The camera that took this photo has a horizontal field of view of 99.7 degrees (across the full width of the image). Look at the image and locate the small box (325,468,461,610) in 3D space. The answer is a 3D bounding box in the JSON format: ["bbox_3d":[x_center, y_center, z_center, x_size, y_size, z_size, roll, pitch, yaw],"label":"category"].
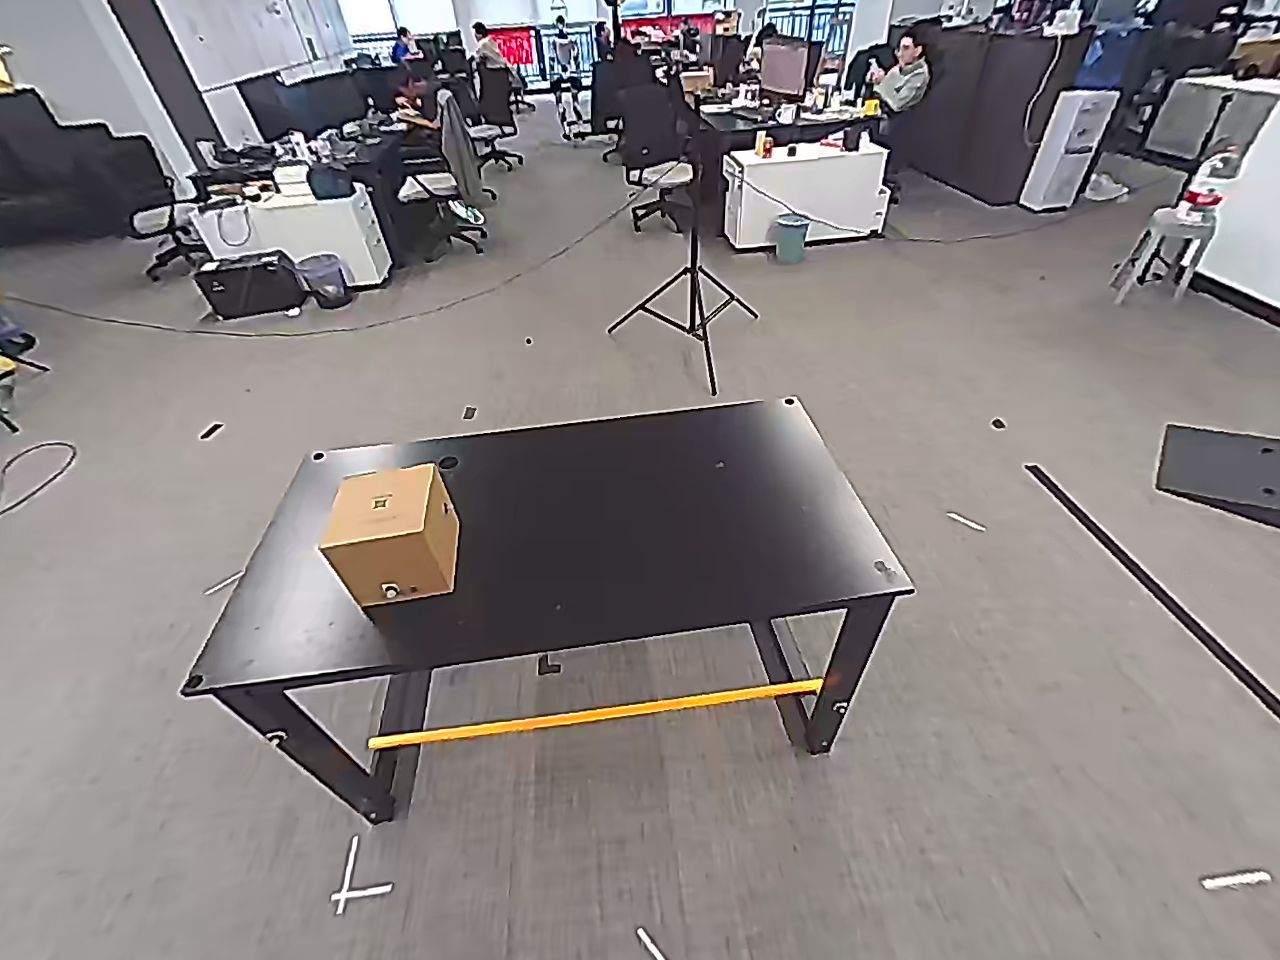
[{"bbox_3d":[-0.432,0.107,0.981,0.168,0.176,0.179,-10,43,-5],"label":"small box"}]
